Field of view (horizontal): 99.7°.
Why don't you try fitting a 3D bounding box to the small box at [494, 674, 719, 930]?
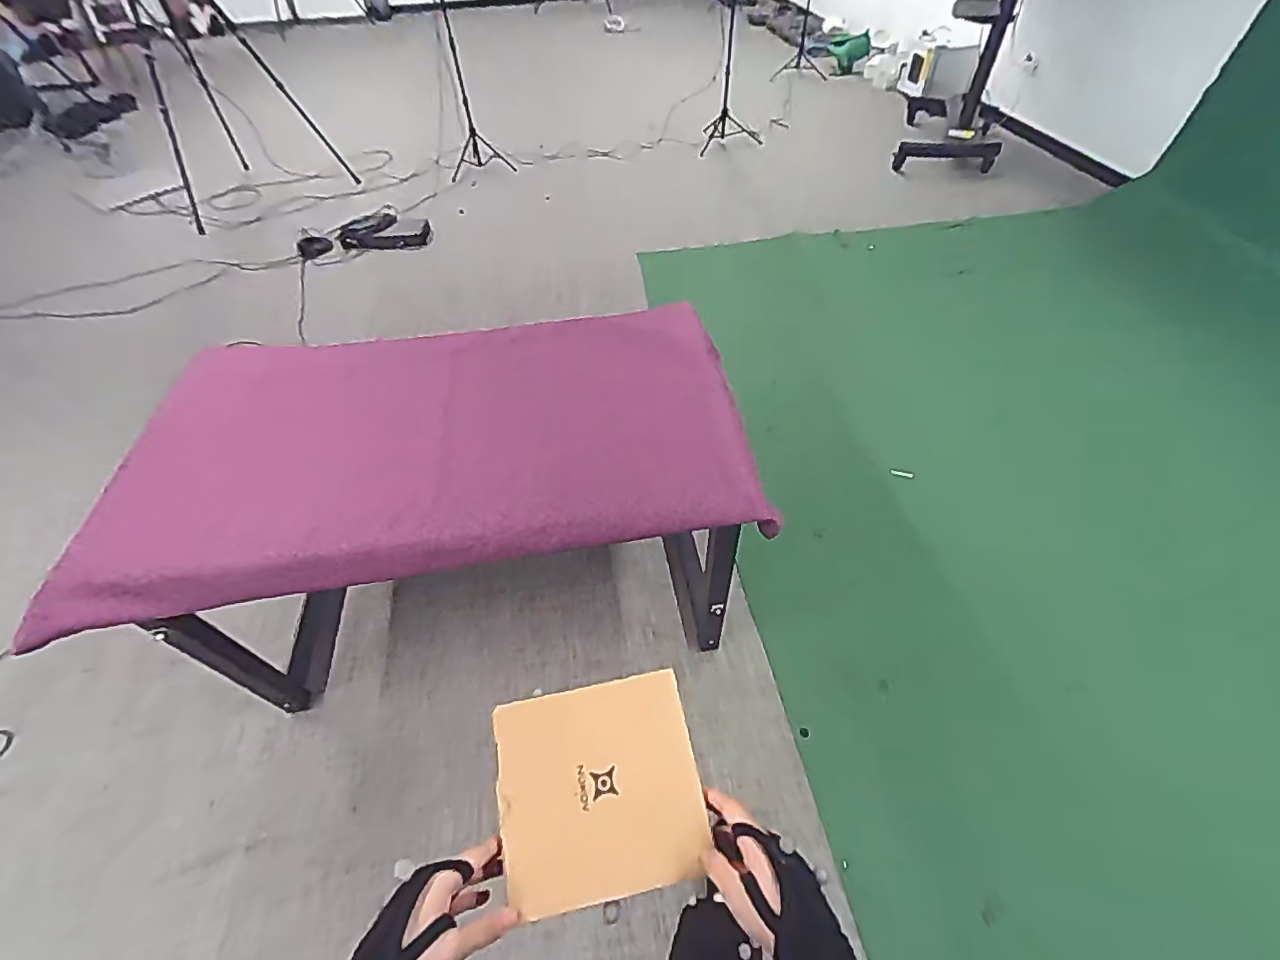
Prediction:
[{"bbox_3d":[-0.034,0.311,0.541,0.179,0.176,0.168,-13,59,-5],"label":"small box"}]
